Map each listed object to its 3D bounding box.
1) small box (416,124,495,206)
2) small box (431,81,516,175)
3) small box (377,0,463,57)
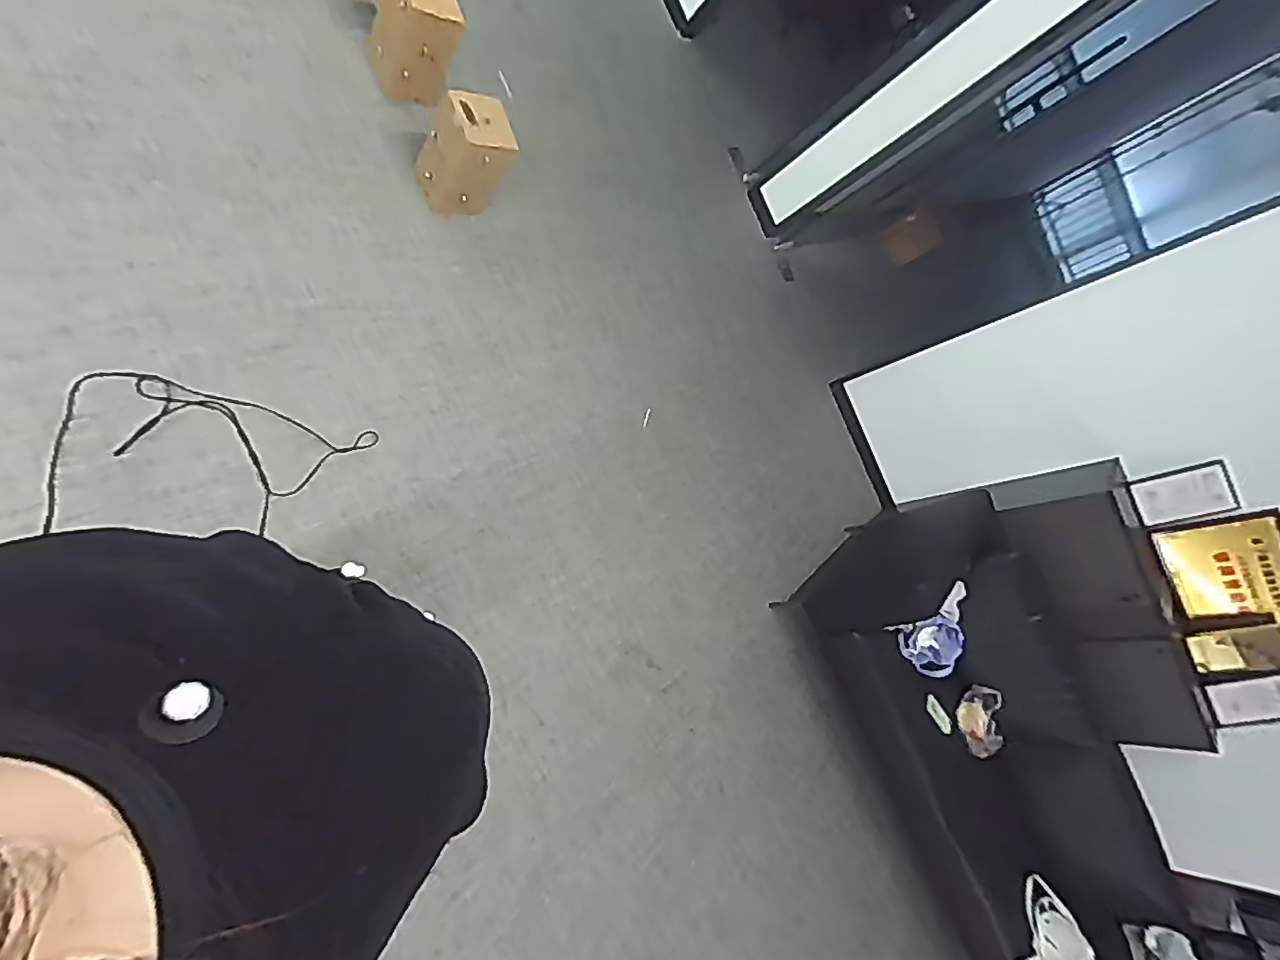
[{"bbox_3d":[-0.611,-1.020,1.765,0.179,0.176,0.168,-25,94,-41],"label":"small box"},{"bbox_3d":[-0.512,-1.056,1.638,0.179,0.176,0.168,-23,93,-42],"label":"small box"},{"bbox_3d":[-0.667,-1.430,1.619,0.168,0.176,0.179,-23,93,-42],"label":"small box"}]
